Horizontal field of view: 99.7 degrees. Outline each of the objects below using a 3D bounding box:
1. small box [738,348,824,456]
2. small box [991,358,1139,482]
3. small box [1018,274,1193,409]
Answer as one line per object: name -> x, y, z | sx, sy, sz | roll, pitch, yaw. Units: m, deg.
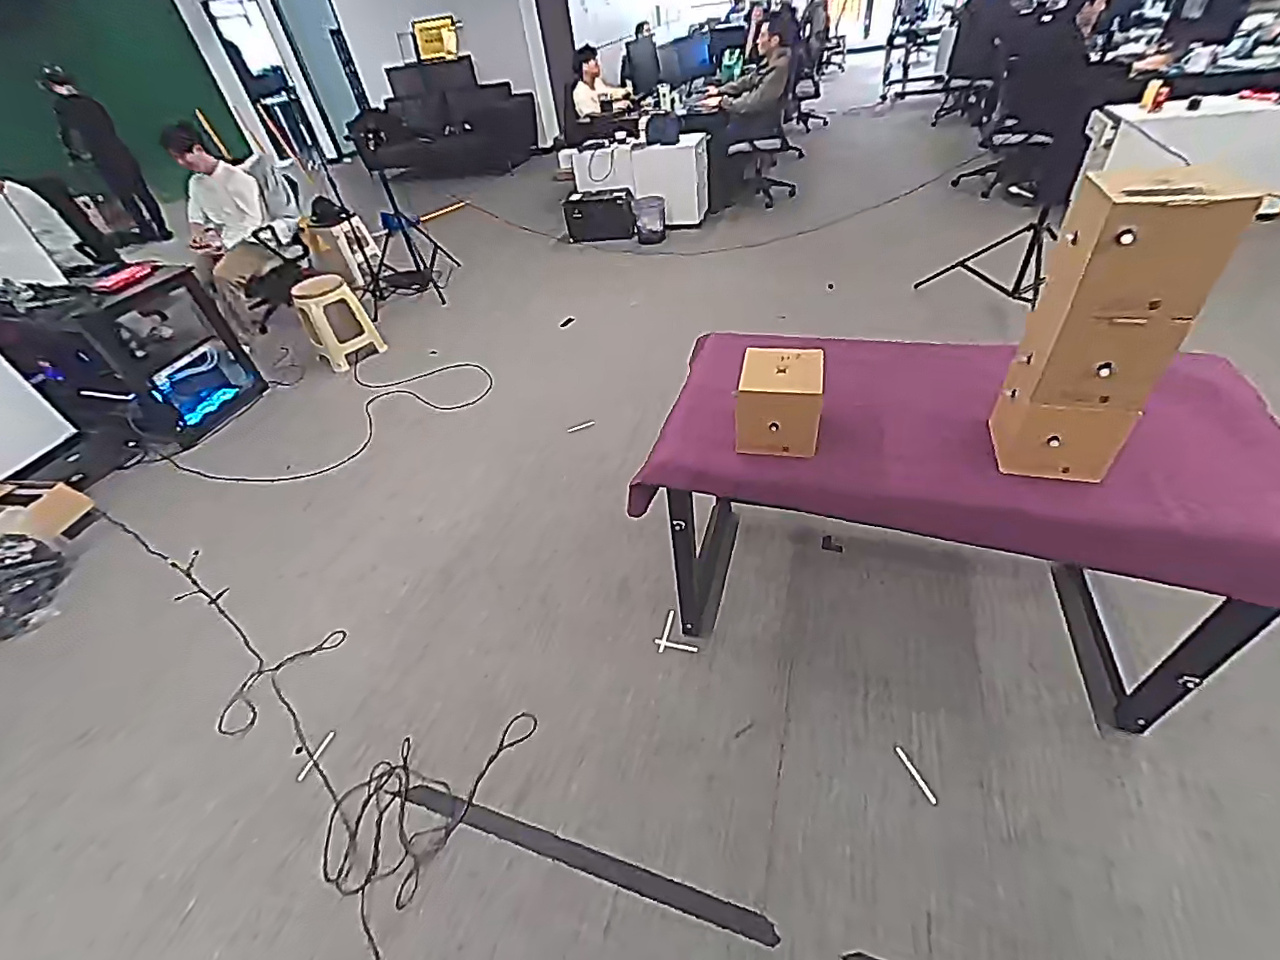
small box -> 0.307, -0.170, 1.183 | 0.168, 0.176, 0.179 | 6, 43, 14
small box -> 0.805, -0.117, 1.046 | 0.168, 0.176, 0.179 | 8, 44, 18
small box -> 0.788, -0.241, 0.939 | 0.168, 0.176, 0.179 | 8, 45, 19
